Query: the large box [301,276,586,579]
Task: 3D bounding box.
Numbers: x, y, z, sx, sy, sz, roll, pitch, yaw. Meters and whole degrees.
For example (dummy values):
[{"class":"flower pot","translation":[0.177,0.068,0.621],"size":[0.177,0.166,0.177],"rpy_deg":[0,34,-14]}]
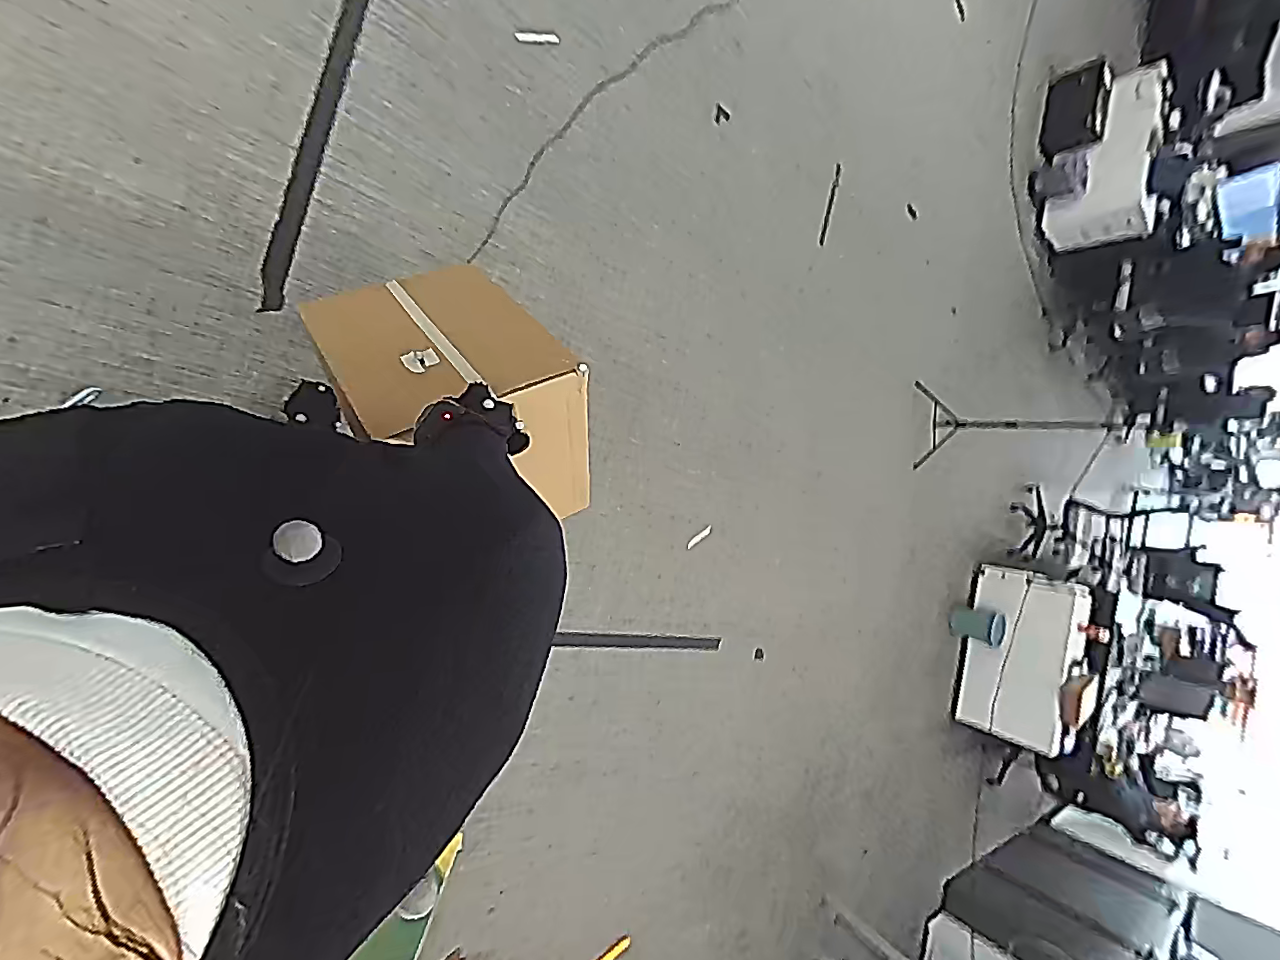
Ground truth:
[{"class":"large box","translation":[-0.332,-0.109,0.961],"size":[0.320,0.408,0.320],"rpy_deg":[-26,144,-26]}]
